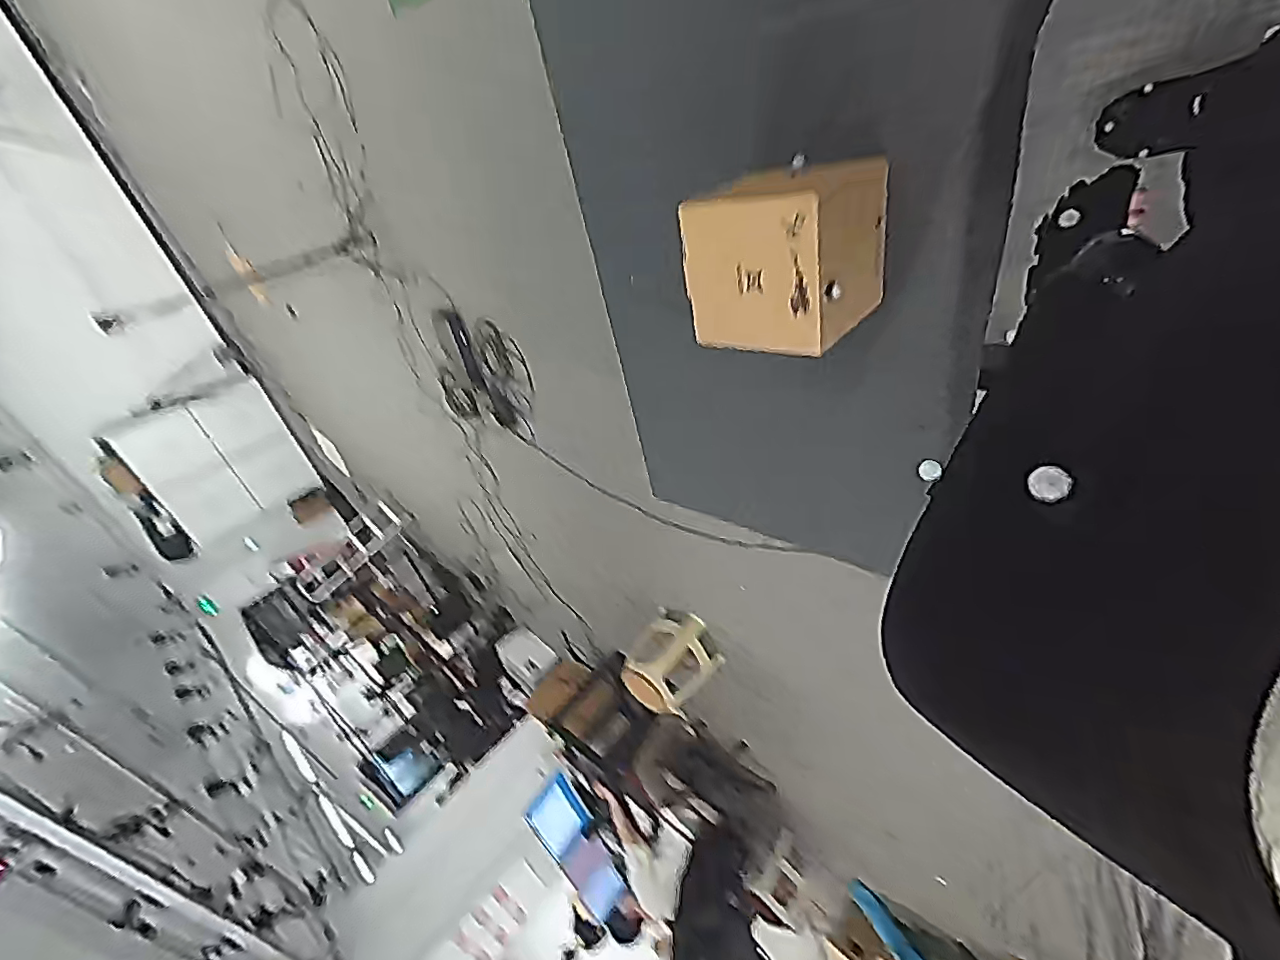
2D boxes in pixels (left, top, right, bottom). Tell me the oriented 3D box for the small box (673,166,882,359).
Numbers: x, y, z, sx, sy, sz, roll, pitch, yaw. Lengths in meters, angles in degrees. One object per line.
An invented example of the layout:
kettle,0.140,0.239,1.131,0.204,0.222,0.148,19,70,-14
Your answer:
small box,0.169,-0.266,0.658,0.179,0.176,0.168,19,136,40
